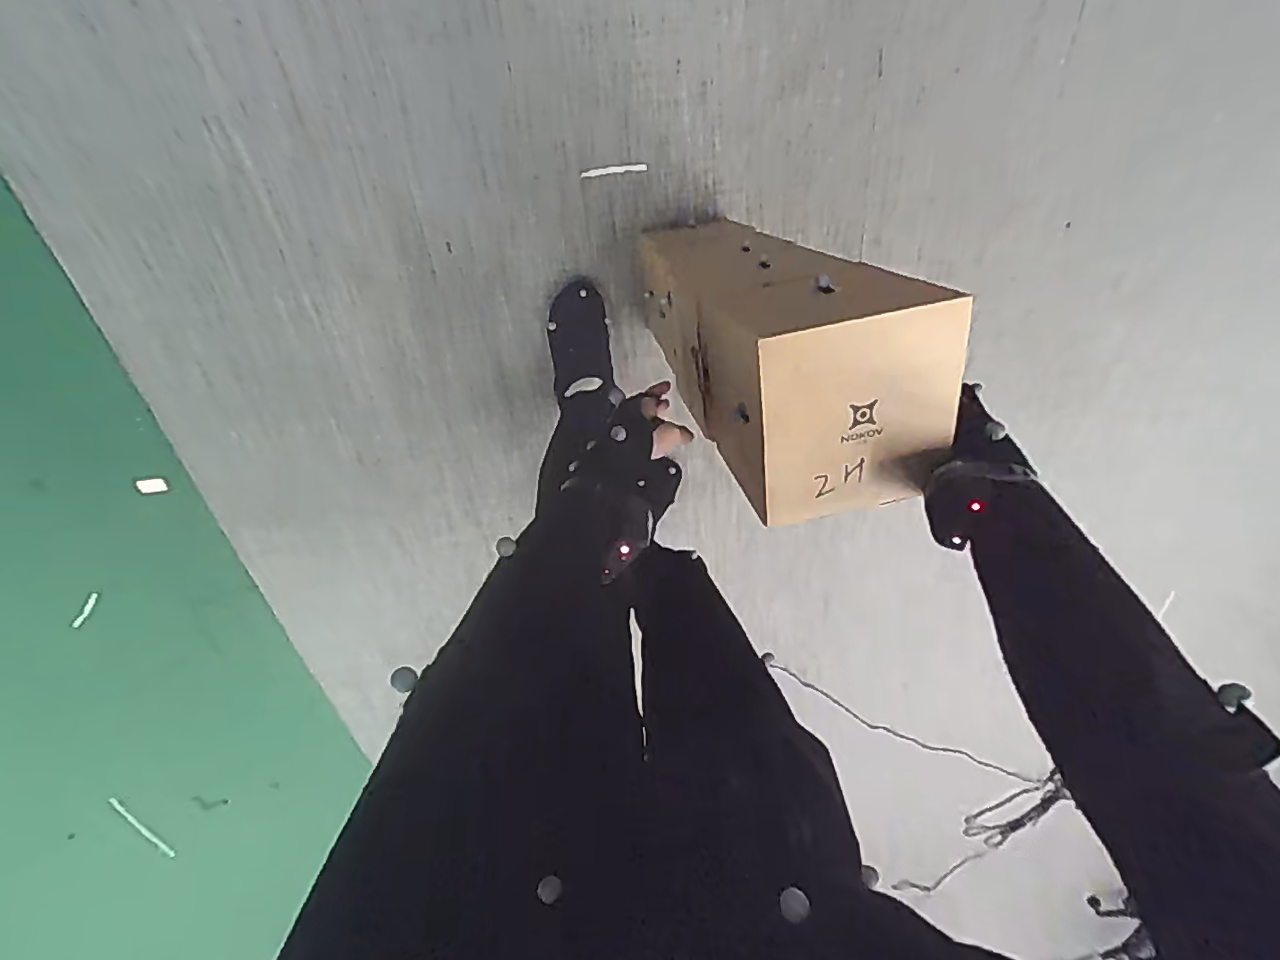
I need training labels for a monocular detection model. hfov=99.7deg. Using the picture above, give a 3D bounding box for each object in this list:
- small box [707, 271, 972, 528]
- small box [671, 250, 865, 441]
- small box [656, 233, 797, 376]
[{"bbox_3d":[0.163,-0.085,0.499,0.168,0.176,0.179,-11,121,-2],"label":"small box"},{"bbox_3d":[0.137,-0.166,0.639,0.179,0.176,0.168,-11,121,-4],"label":"small box"},{"bbox_3d":[0.123,-0.244,0.784,0.168,0.176,0.179,-12,122,-3],"label":"small box"}]
